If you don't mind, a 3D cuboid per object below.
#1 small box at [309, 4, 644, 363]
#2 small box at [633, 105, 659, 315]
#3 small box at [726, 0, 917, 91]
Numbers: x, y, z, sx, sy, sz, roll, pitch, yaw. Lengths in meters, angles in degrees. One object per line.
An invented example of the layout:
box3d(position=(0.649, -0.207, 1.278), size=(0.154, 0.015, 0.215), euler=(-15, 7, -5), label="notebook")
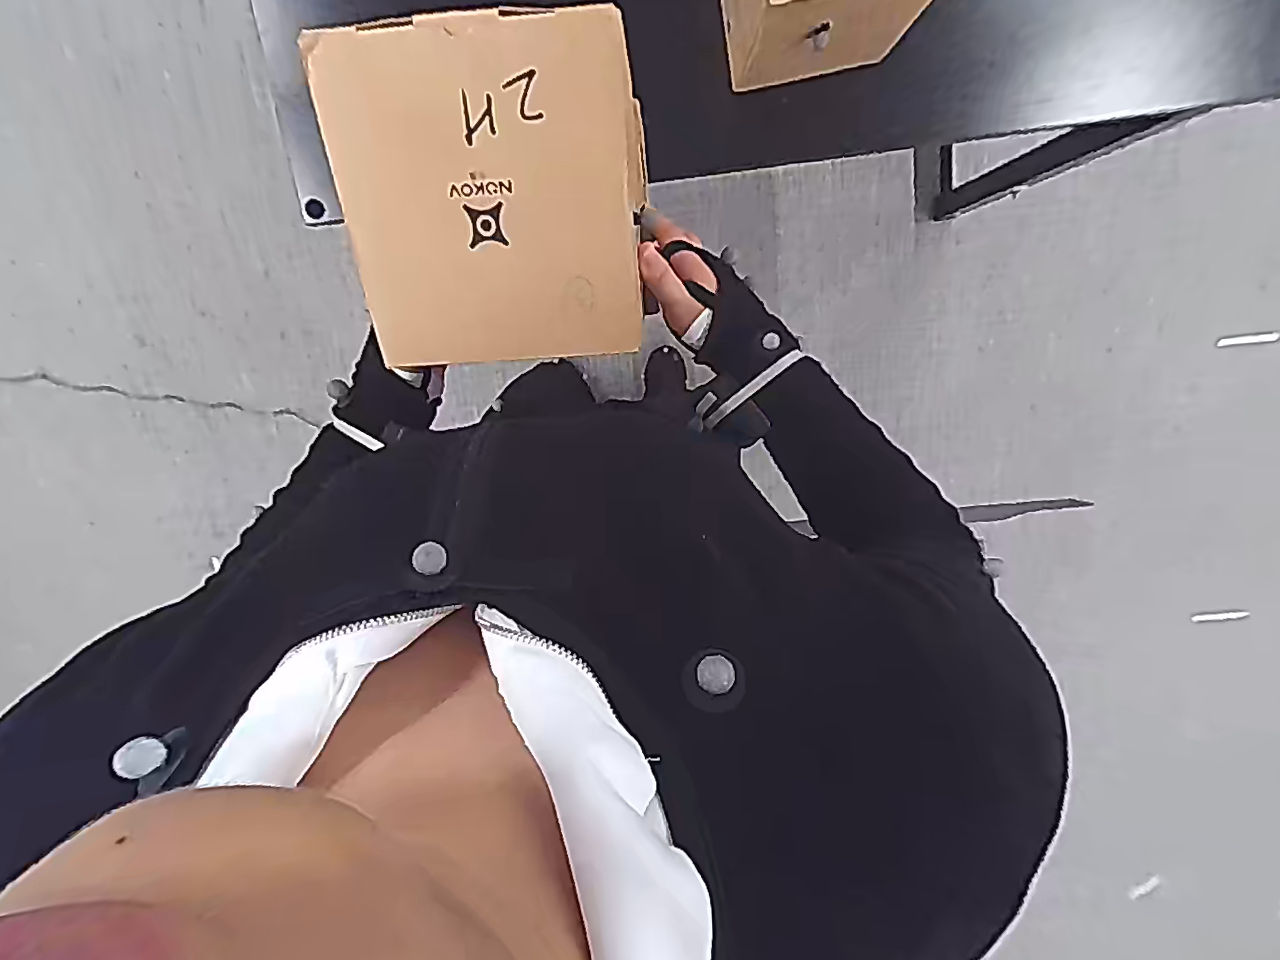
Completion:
box3d(position=(-0.084, -0.191, 0.383), size=(0.168, 0.176, 0.179), euler=(-3, 114, 2), label="small box")
box3d(position=(-0.076, -0.252, 0.537), size=(0.179, 0.176, 0.168), euler=(-5, 114, 5), label="small box")
box3d(position=(0.180, -0.529, 0.541), size=(0.179, 0.176, 0.168), euler=(-10, 103, 3), label="small box")
